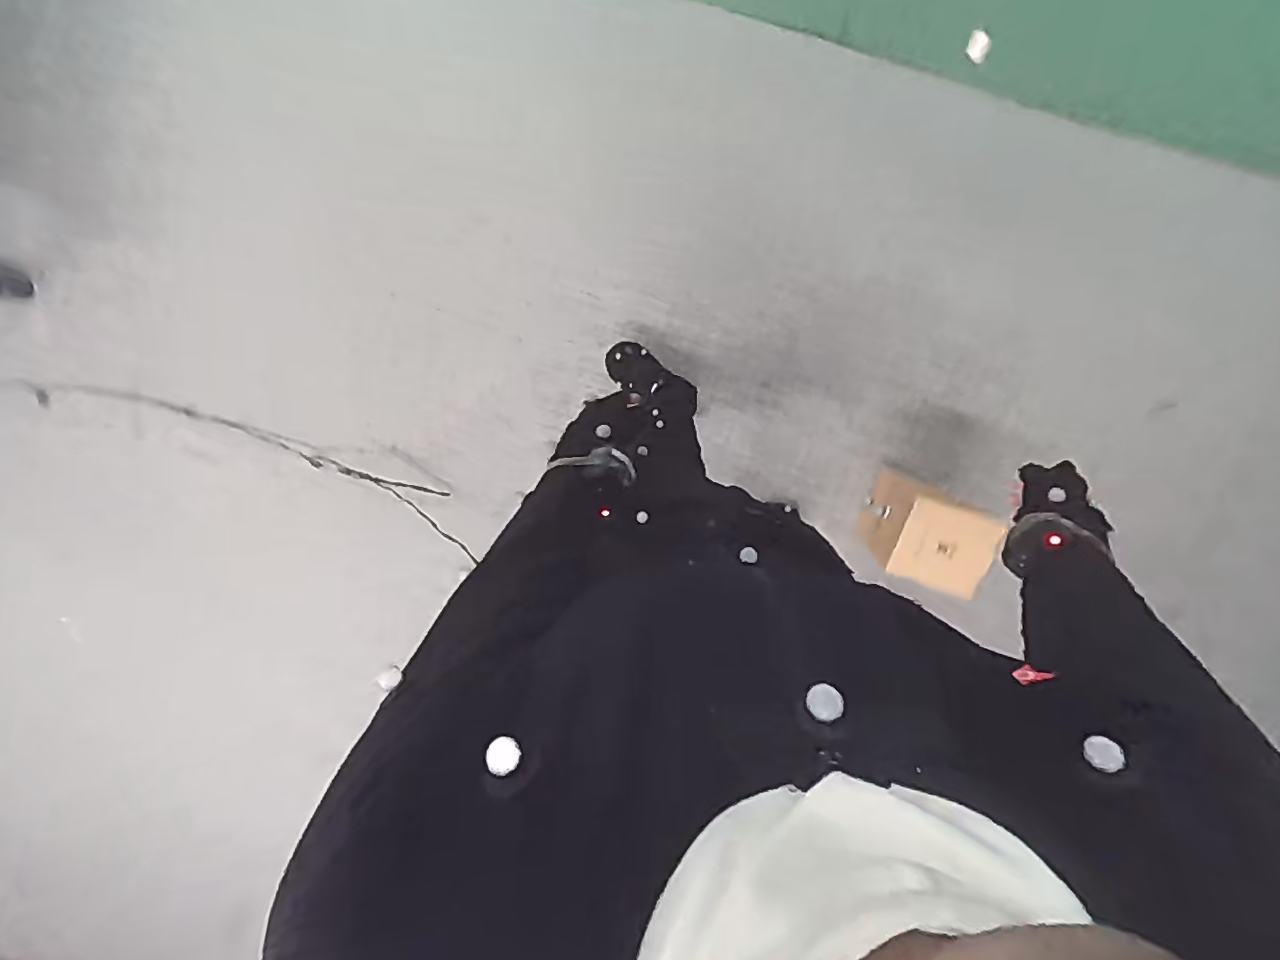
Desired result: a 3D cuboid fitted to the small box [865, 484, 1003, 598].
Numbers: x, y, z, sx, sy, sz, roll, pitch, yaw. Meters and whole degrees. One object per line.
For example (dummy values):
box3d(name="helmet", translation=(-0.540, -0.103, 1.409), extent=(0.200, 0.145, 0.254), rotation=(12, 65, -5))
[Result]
box3d(name="small box", translation=(0.601, 0.118, 1.131), extent=(0.179, 0.176, 0.168), rotation=(19, 102, 6))

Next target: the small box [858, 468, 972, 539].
box3d(name="small box", translation=(0.641, 0.090, 1.287), extent=(0.168, 0.176, 0.179), rotation=(19, 105, 4))
